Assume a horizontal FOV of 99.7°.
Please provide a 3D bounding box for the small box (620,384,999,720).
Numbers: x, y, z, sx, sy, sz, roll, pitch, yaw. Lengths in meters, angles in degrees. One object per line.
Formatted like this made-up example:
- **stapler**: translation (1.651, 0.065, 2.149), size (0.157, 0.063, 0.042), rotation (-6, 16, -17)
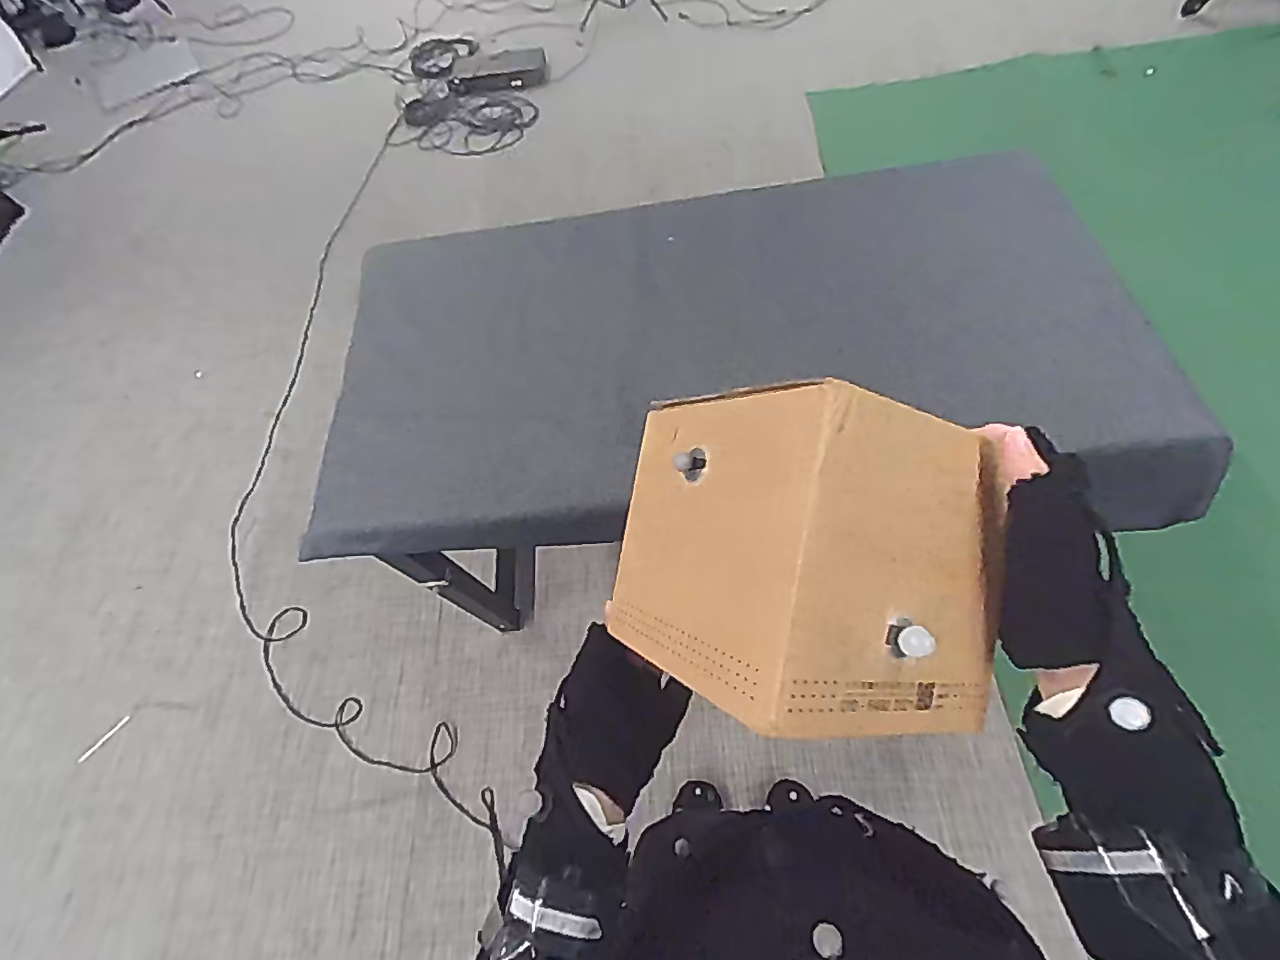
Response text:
- **small box**: translation (0.102, 0.048, 0.372), size (0.168, 0.179, 0.176), rotation (12, 86, -29)
